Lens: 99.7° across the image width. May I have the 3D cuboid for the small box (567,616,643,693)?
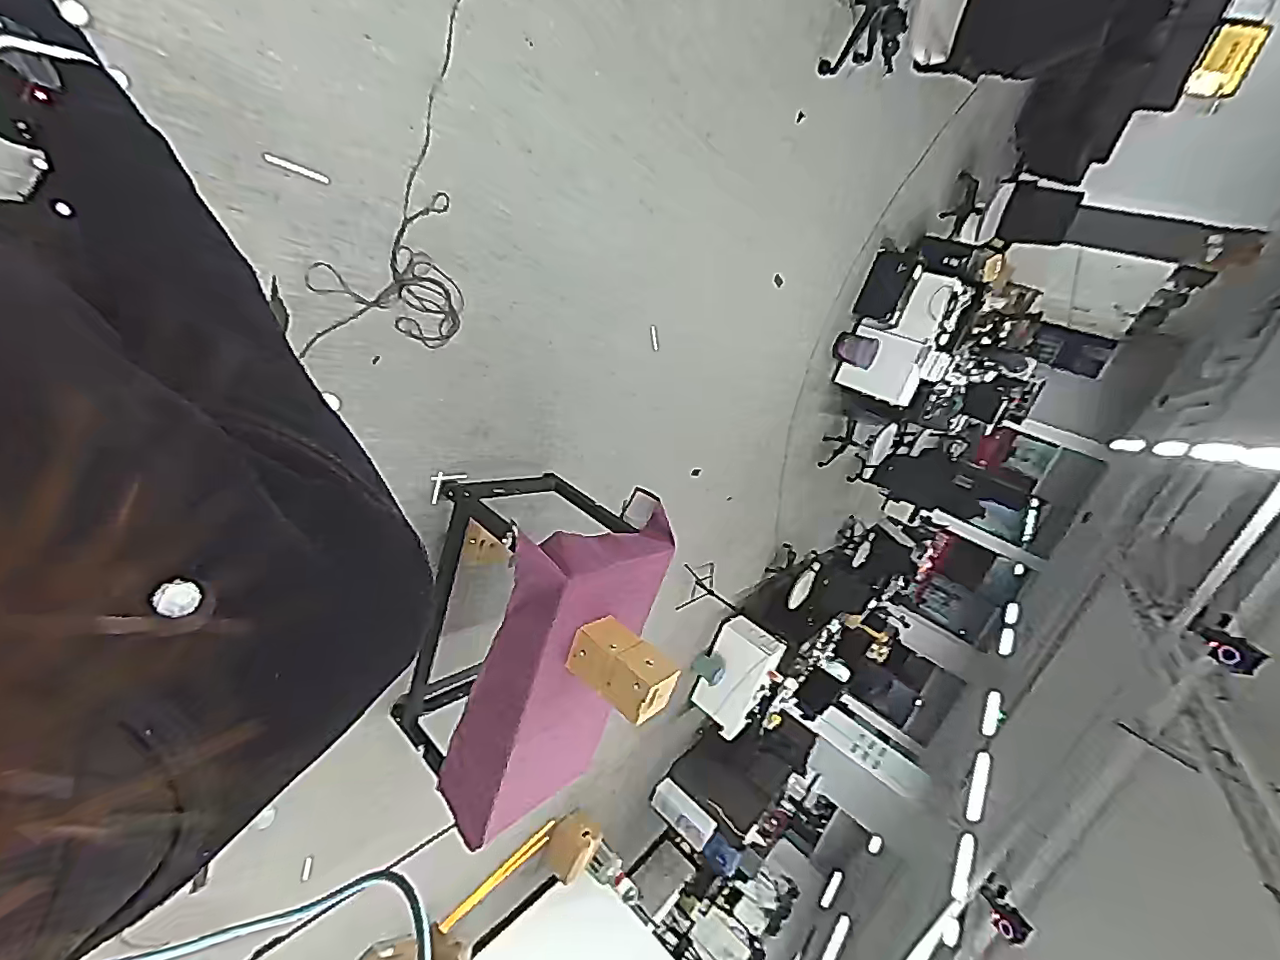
[{"bbox_3d":[-0.123,0.604,1.903,0.179,0.176,0.168,-5,120,-53],"label":"small box"}]
